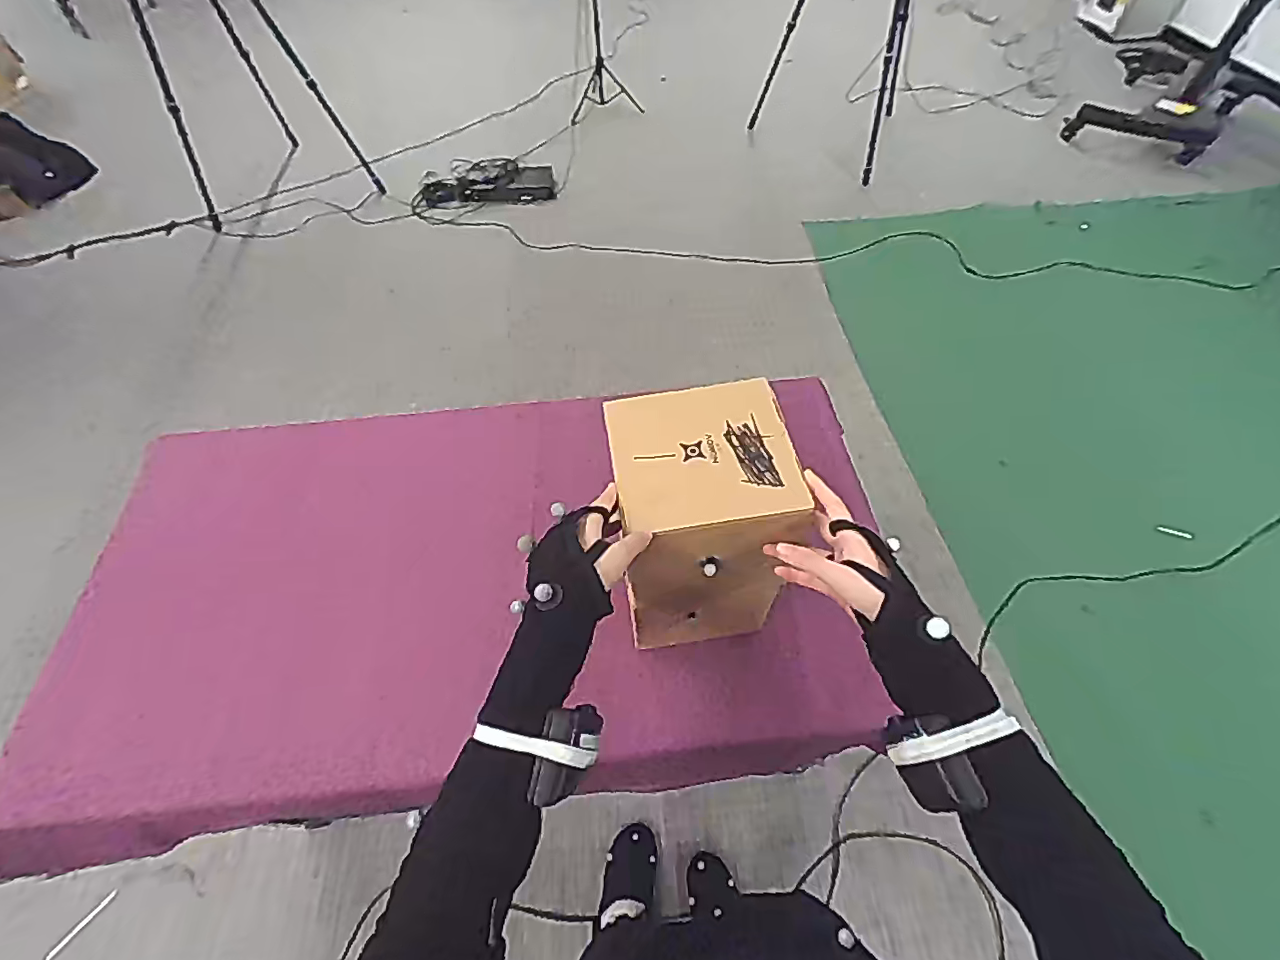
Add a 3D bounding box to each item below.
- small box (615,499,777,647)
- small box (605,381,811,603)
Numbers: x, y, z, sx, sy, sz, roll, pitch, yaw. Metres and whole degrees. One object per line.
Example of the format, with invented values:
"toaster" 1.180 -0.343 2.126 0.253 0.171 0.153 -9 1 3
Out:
"small box" 0.068 0.112 0.728 0.179 0.176 0.168 -8 55 -3
"small box" 0.063 0.019 0.591 0.179 0.176 0.168 -9 54 -1
